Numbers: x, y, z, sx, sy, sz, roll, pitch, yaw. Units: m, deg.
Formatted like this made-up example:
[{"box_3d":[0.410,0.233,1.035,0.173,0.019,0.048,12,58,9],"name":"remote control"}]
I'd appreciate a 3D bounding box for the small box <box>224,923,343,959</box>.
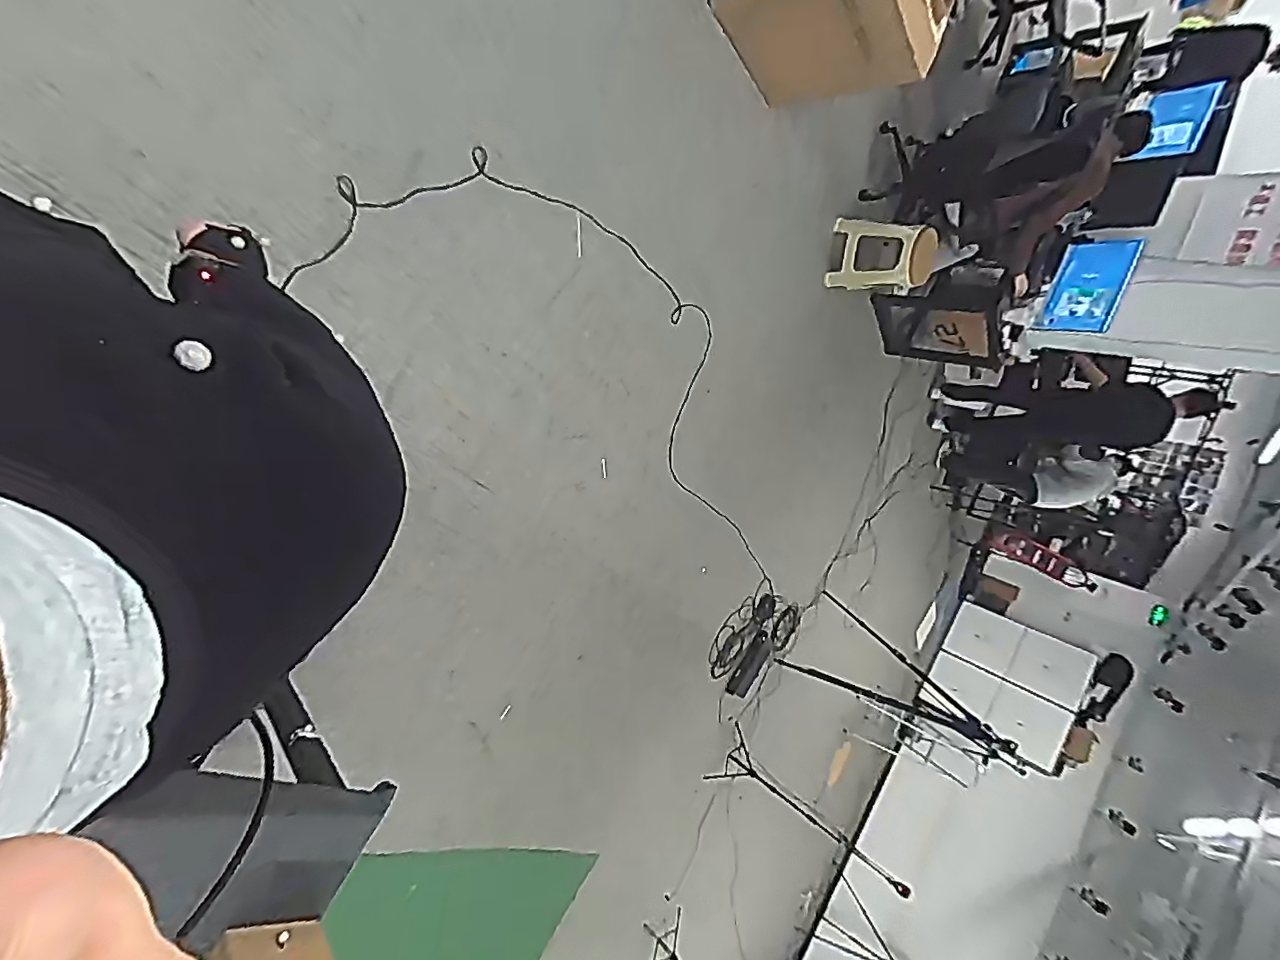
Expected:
[{"box_3d":[-0.620,0.887,0.898,0.168,0.176,0.179,-57,137,-11],"name":"small box"}]
